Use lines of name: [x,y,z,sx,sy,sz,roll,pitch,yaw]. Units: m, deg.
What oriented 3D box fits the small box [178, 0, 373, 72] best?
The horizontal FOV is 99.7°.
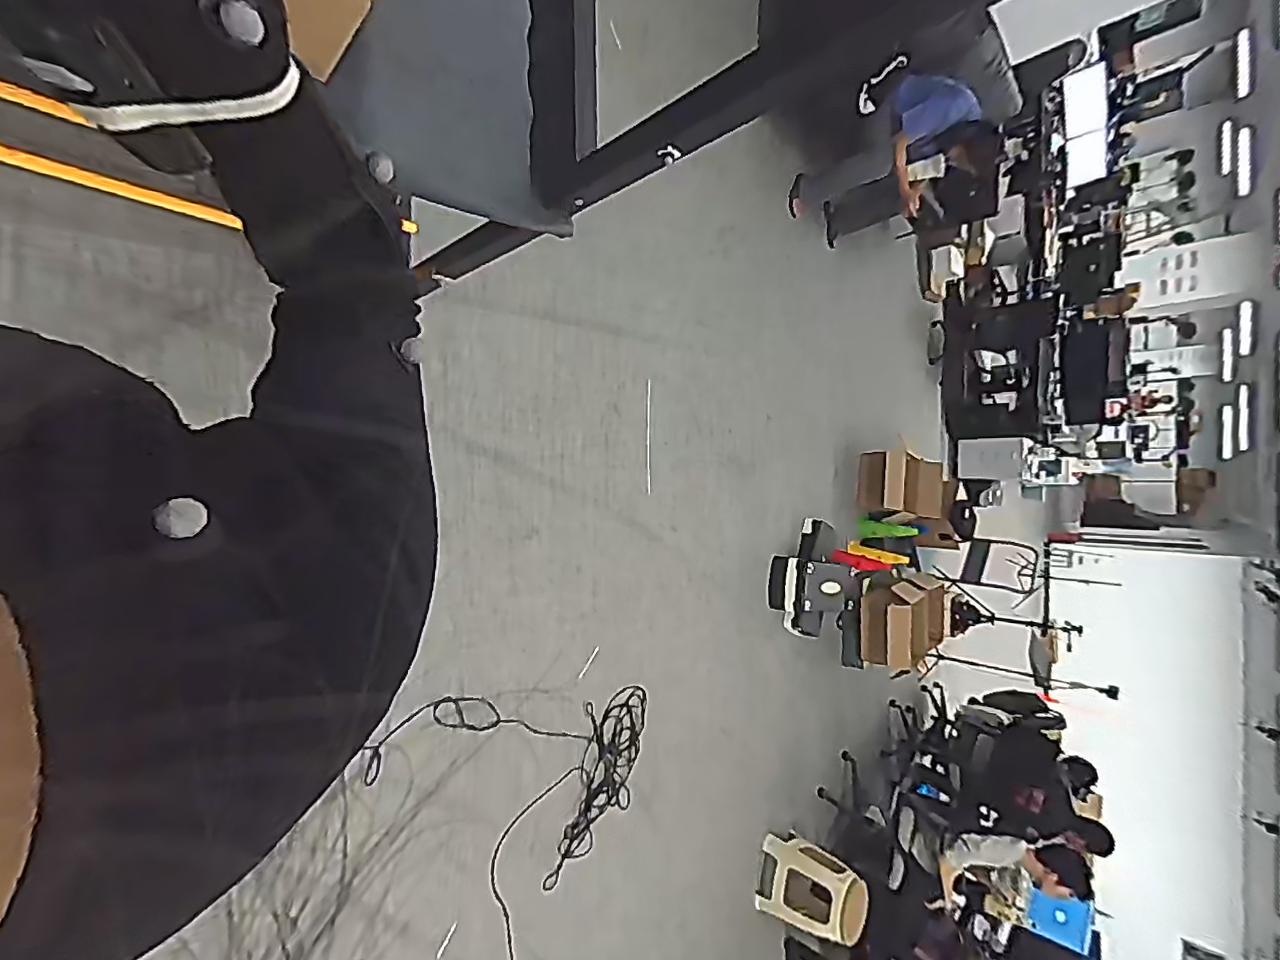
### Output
small box: [-0.415,-0.619,0.601,0.168,0.176,0.179,-3,91,-46]
